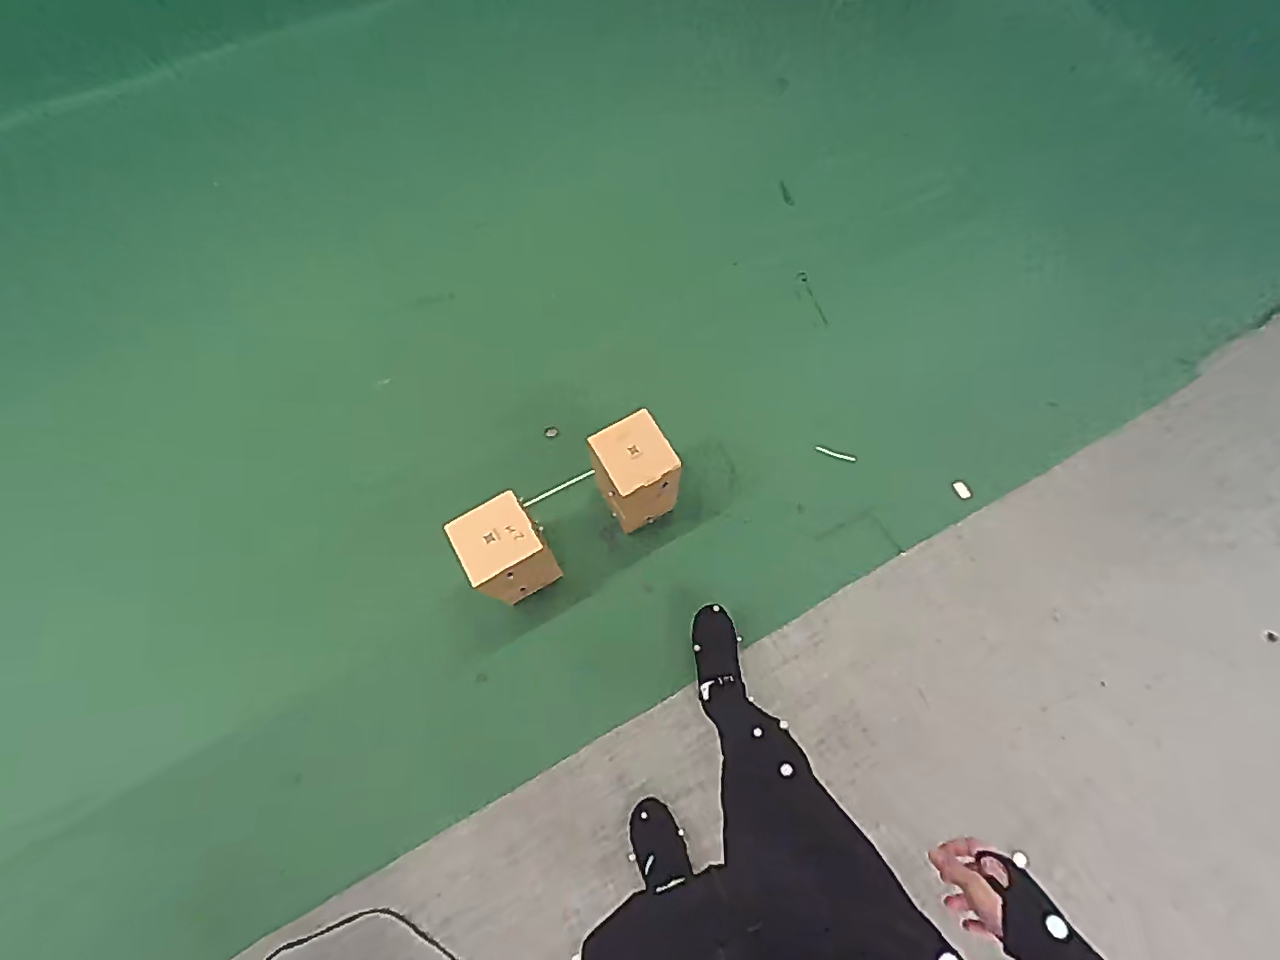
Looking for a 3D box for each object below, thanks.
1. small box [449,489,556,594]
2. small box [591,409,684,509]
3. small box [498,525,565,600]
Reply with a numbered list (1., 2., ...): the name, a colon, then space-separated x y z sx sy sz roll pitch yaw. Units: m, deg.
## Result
1. small box: -0.320 0.155 1.289 0.179 0.176 0.168 -29 72 -9
2. small box: -0.006 -0.042 1.357 0.168 0.176 0.179 -28 72 -10
3. small box: -0.317 0.207 1.445 0.168 0.176 0.179 -29 71 -9
